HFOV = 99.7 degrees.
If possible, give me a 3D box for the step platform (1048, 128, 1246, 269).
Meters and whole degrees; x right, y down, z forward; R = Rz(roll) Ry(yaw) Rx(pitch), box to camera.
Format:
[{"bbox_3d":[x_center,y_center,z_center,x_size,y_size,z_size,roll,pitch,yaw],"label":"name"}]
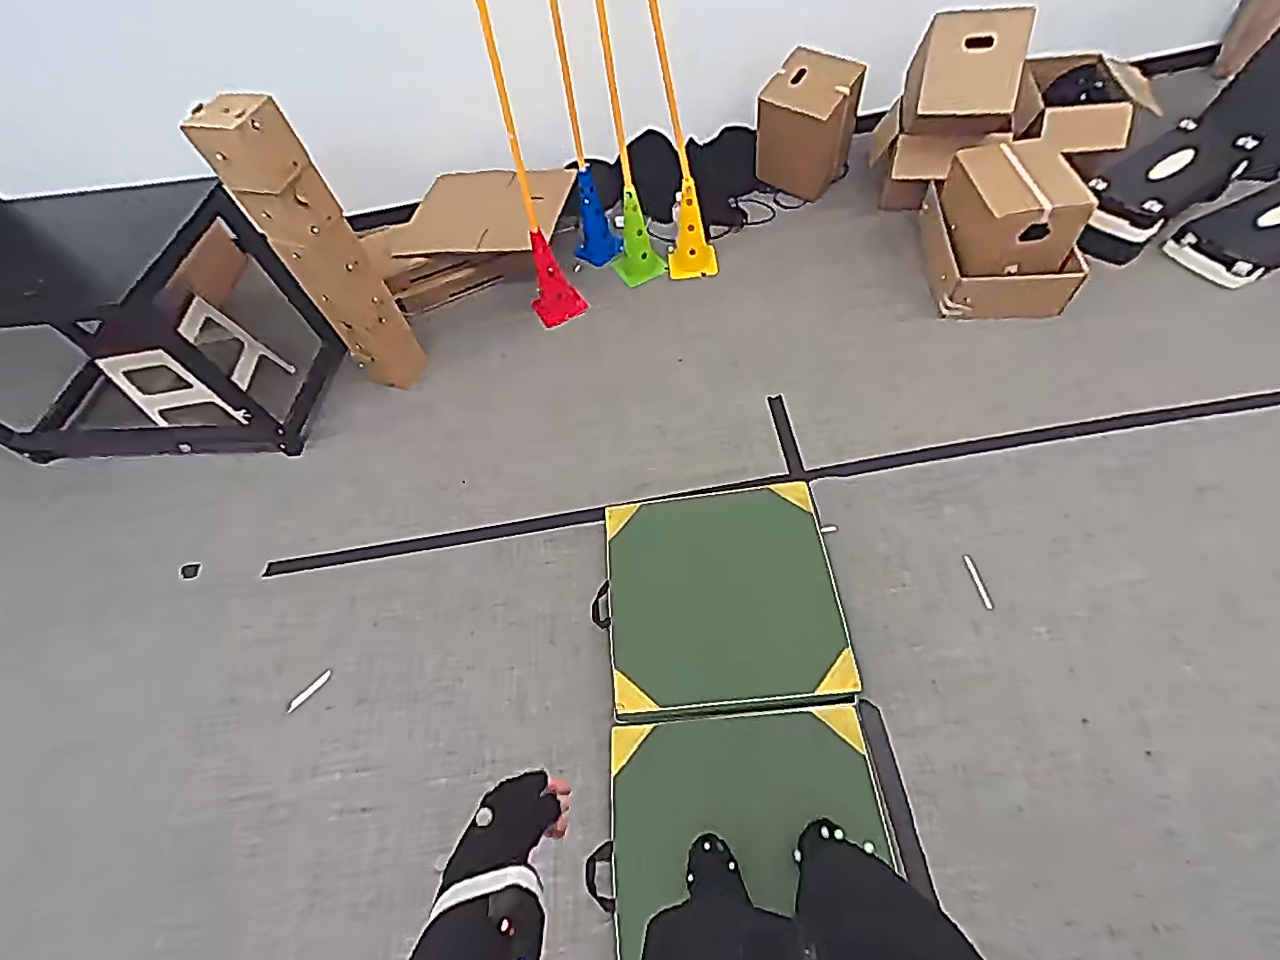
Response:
[{"bbox_3d":[1.935,-1.088,2.070,0.684,0.204,0.286,-34,59,-12],"label":"step platform"}]
